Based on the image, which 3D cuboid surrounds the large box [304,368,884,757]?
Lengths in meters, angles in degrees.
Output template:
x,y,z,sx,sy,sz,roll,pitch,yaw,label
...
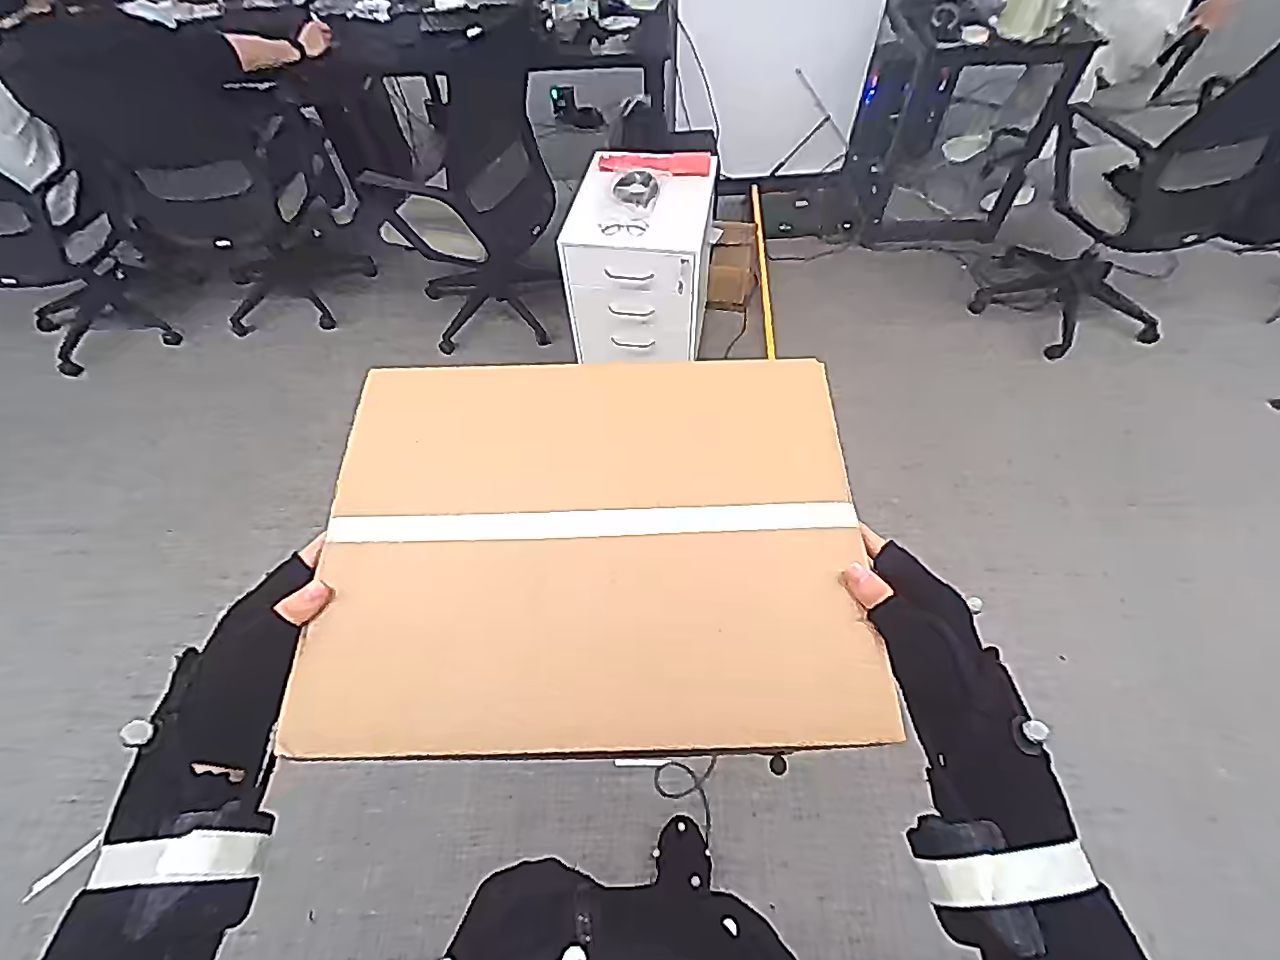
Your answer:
x,y,z,sx,sy,sz,roll,pitch,yaw,label
-0.032,0.107,0.564,0.408,0.320,0.320,-2,62,1,large box
